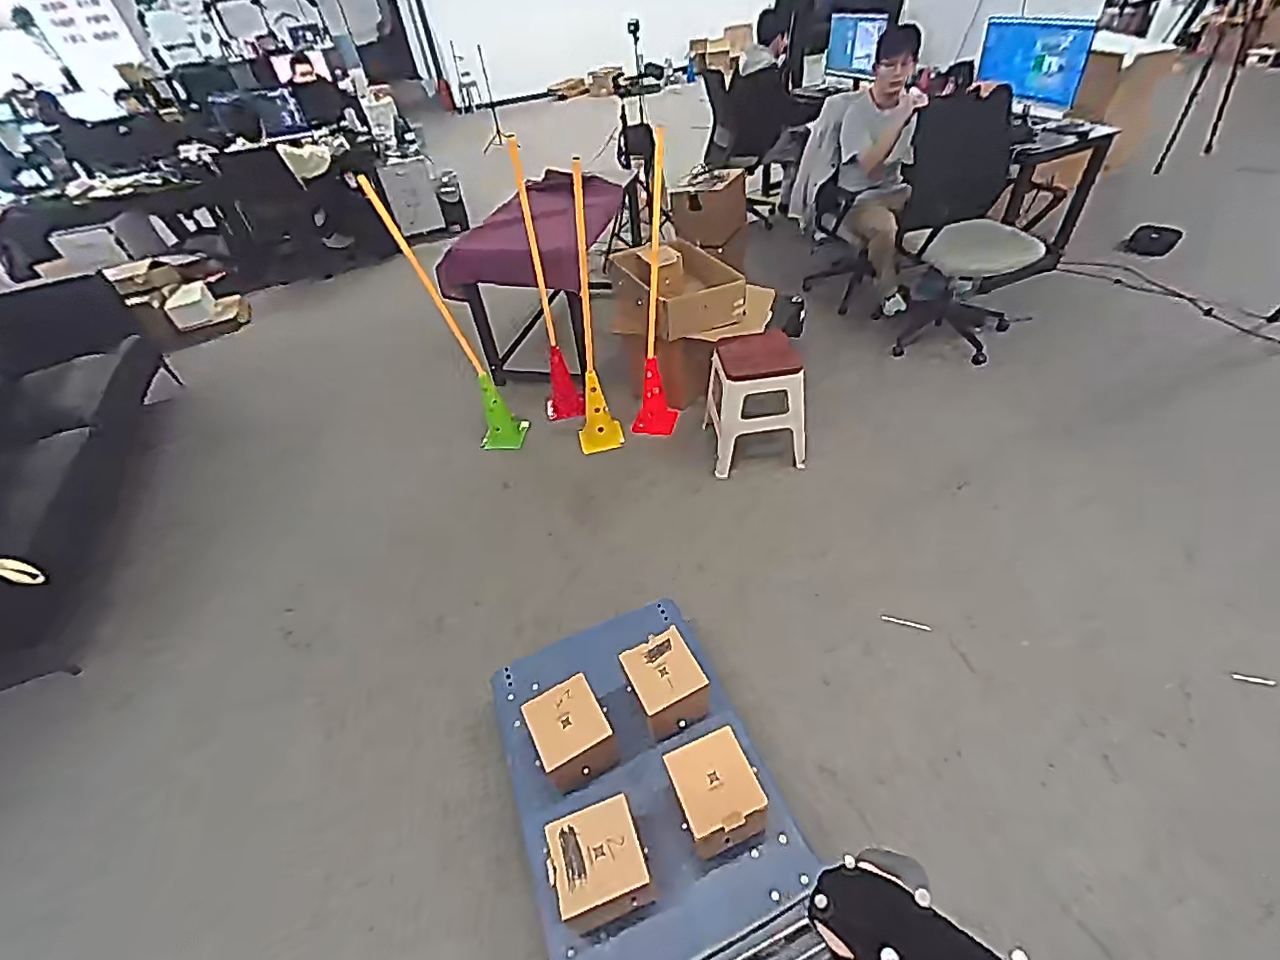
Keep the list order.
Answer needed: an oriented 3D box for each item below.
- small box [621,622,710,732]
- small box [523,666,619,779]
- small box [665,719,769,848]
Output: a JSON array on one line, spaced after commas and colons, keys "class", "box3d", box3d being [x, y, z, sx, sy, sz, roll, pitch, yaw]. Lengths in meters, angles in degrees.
[{"class": "small box", "box3d": [0.065, 0.504, 1.382, 0.168, 0.176, 0.179, -23, 47, -14]}, {"class": "small box", "box3d": [-0.163, 0.598, 1.318, 0.168, 0.176, 0.179, -24, 46, -17]}, {"class": "small box", "box3d": [0.165, 0.672, 1.198, 0.168, 0.176, 0.179, -19, 46, -11]}]
